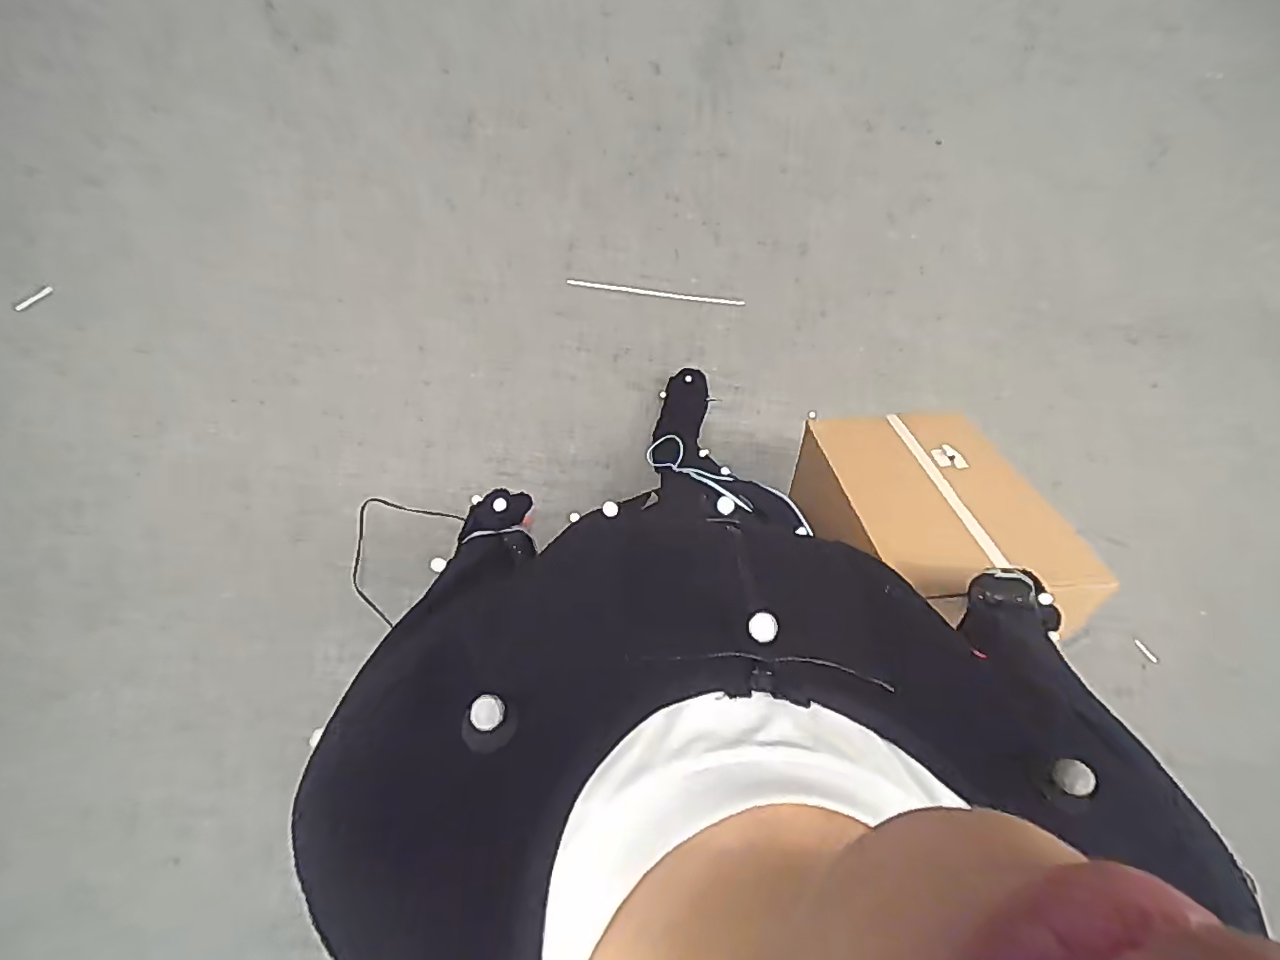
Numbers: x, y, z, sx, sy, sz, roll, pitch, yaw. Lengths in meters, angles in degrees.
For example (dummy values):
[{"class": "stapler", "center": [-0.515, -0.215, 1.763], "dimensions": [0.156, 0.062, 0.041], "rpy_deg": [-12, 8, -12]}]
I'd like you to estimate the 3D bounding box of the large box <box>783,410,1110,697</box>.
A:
[{"class": "large box", "center": [0.486, 0.120, 0.981], "dimensions": [0.320, 0.408, 0.320], "rpy_deg": [-3, 132, -4]}]
